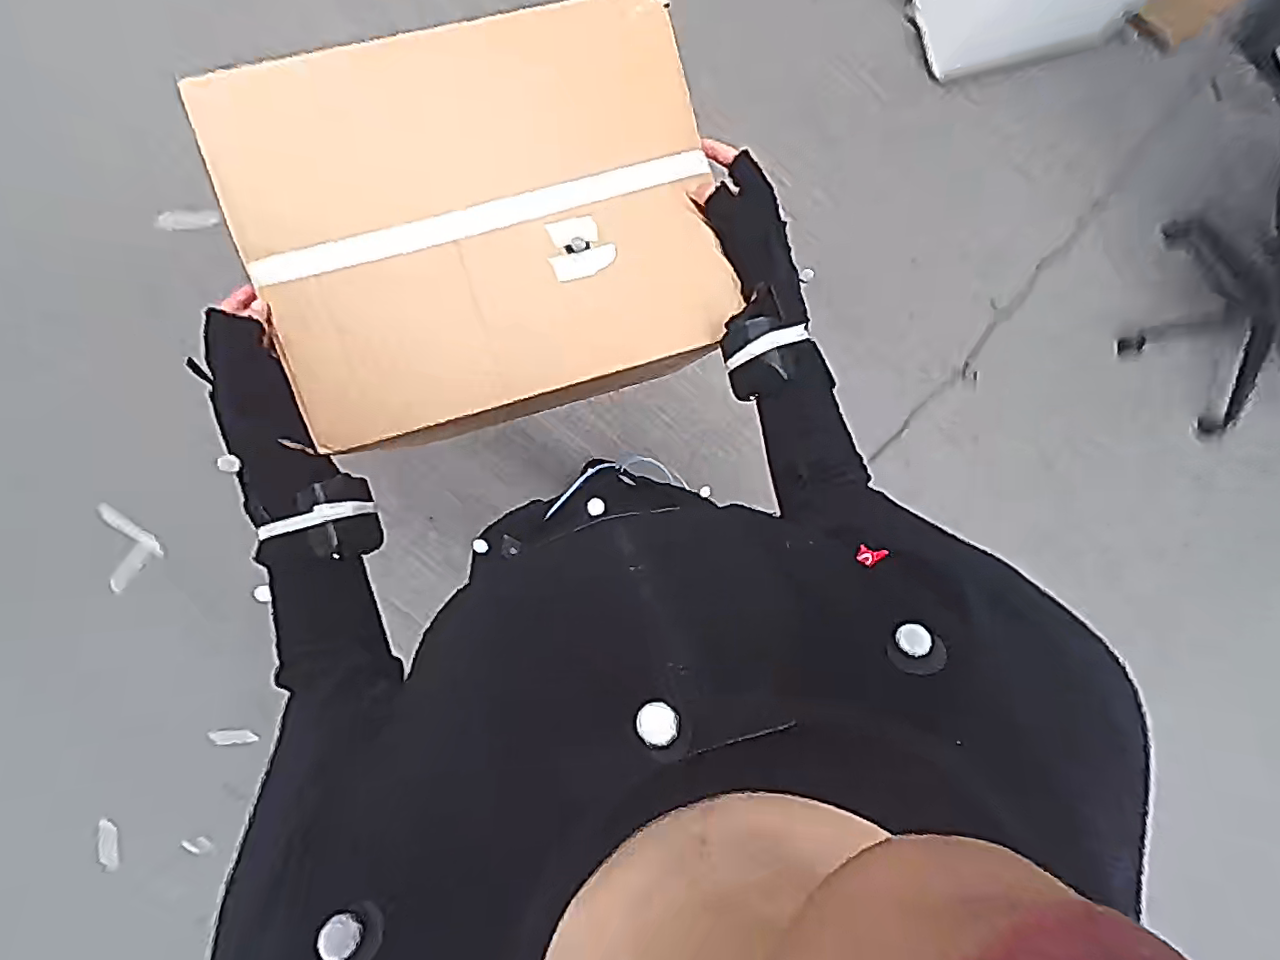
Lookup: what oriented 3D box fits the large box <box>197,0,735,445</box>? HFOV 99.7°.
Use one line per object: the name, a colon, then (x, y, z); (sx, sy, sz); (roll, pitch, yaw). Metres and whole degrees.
large box: (-0.161, -0.250, 0.633); (0.408, 0.320, 0.320); (-19, 98, -7)
